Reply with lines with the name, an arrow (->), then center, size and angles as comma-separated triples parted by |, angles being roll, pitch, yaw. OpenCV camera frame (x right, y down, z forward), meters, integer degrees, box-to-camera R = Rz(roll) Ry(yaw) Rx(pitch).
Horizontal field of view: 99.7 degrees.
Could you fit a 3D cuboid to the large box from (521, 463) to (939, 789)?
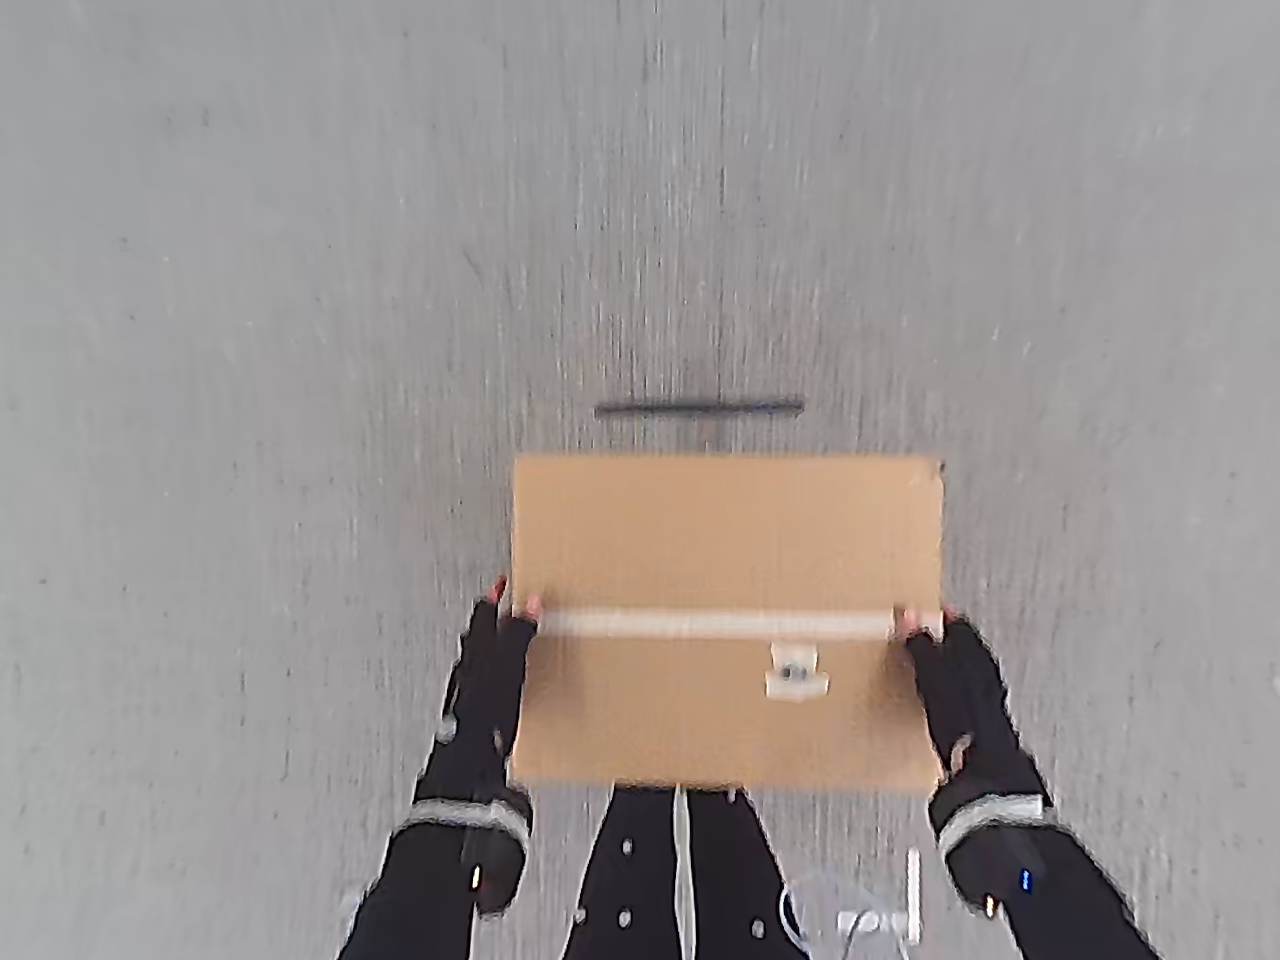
large box -> 0.086, 0.143, 0.666 | 0.408, 0.320, 0.320 | 0, 90, 2
